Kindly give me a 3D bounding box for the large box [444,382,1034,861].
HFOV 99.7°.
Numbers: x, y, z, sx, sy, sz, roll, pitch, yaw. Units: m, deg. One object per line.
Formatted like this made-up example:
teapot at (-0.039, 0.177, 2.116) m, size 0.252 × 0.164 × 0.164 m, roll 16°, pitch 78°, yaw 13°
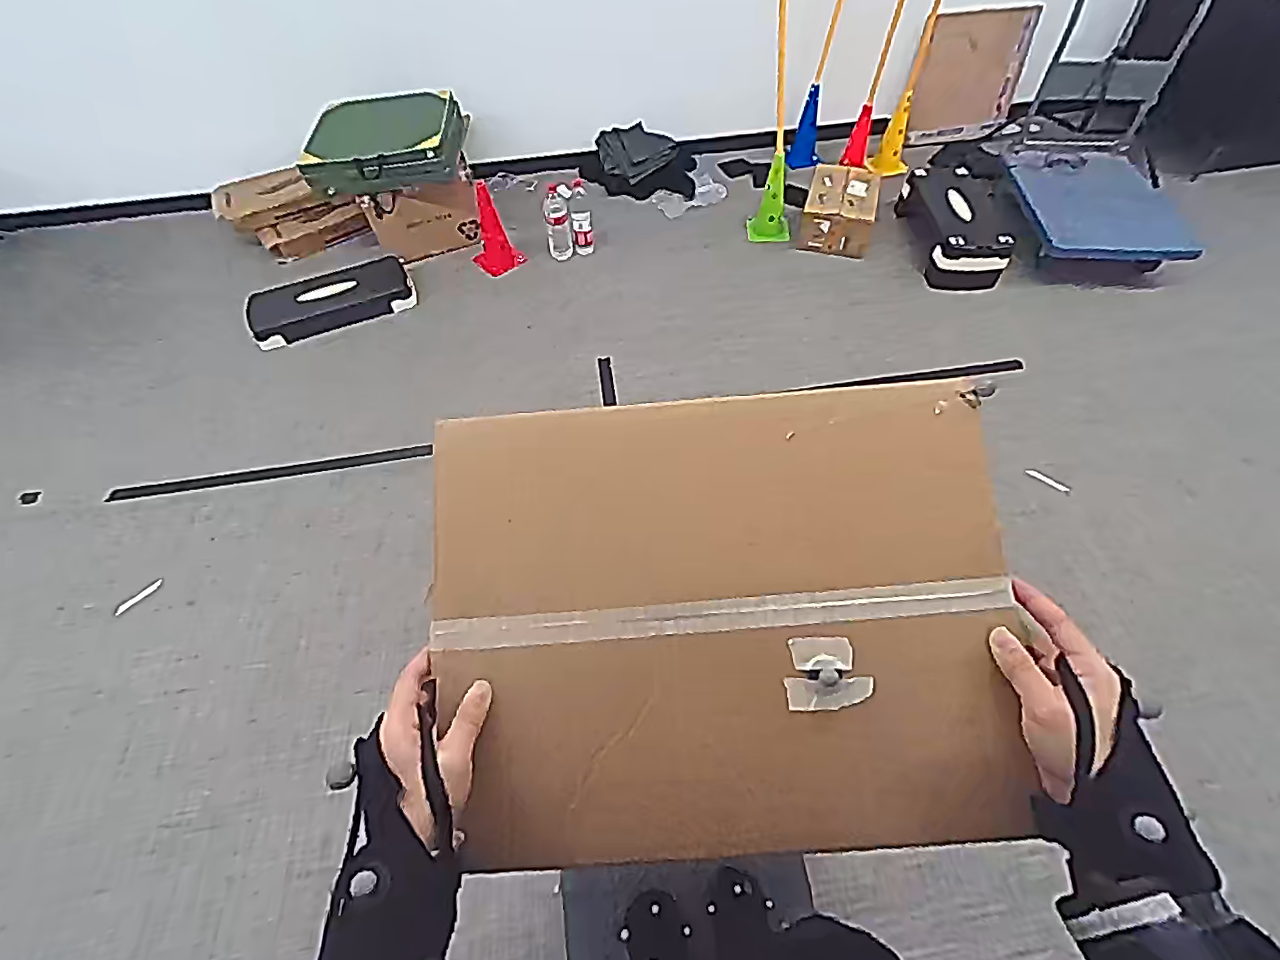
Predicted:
large box at (0.060, 0.118, 0.538) m, size 0.408 × 0.320 × 0.320 m, roll -5°, pitch 81°, yaw 1°
